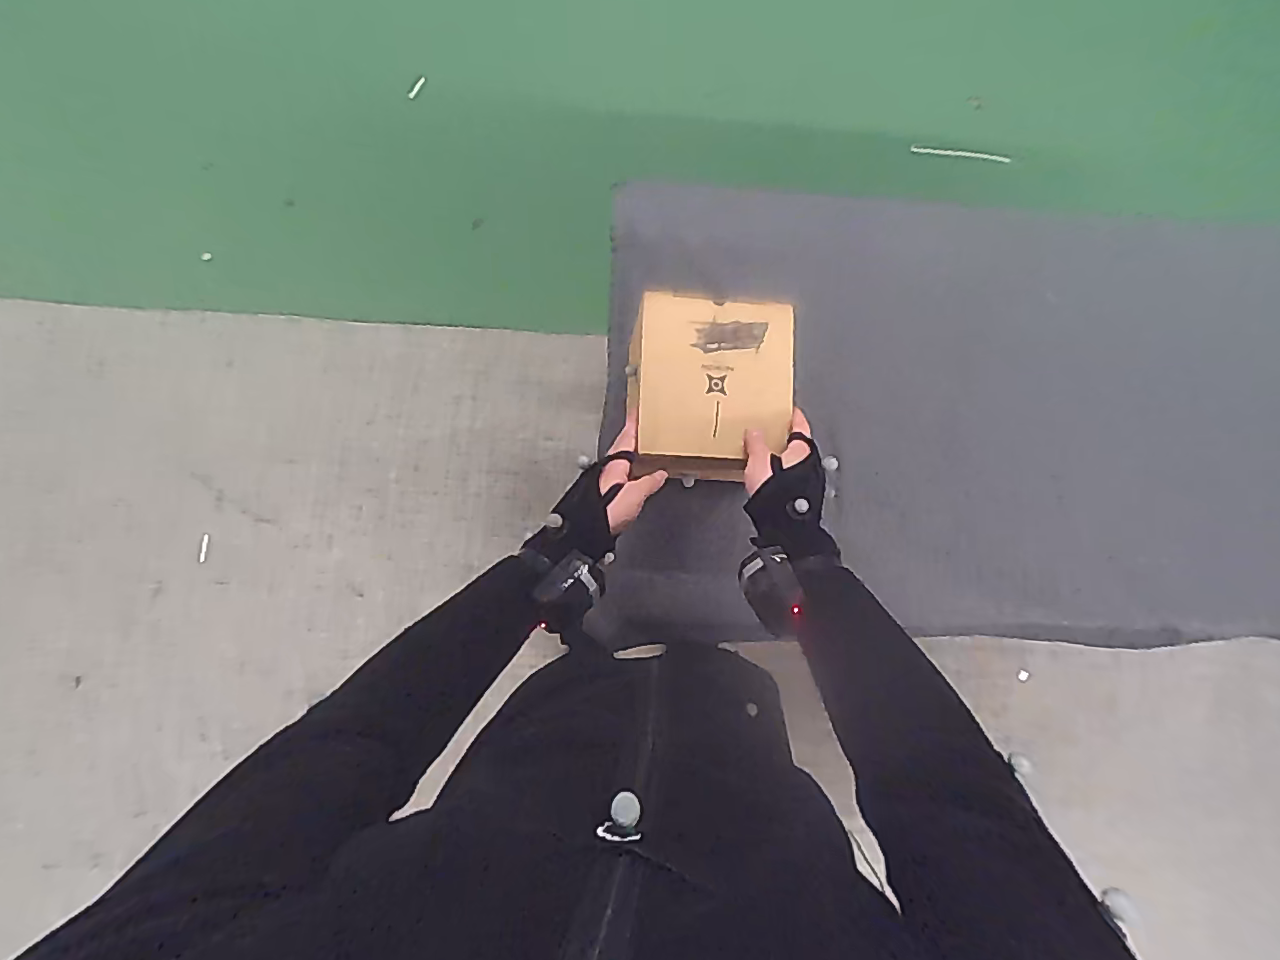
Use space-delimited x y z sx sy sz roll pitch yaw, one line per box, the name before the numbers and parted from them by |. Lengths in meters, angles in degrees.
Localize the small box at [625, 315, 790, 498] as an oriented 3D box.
small box | 0.072 -0.076 0.656 0.168 0.176 0.179 3 83 -6
